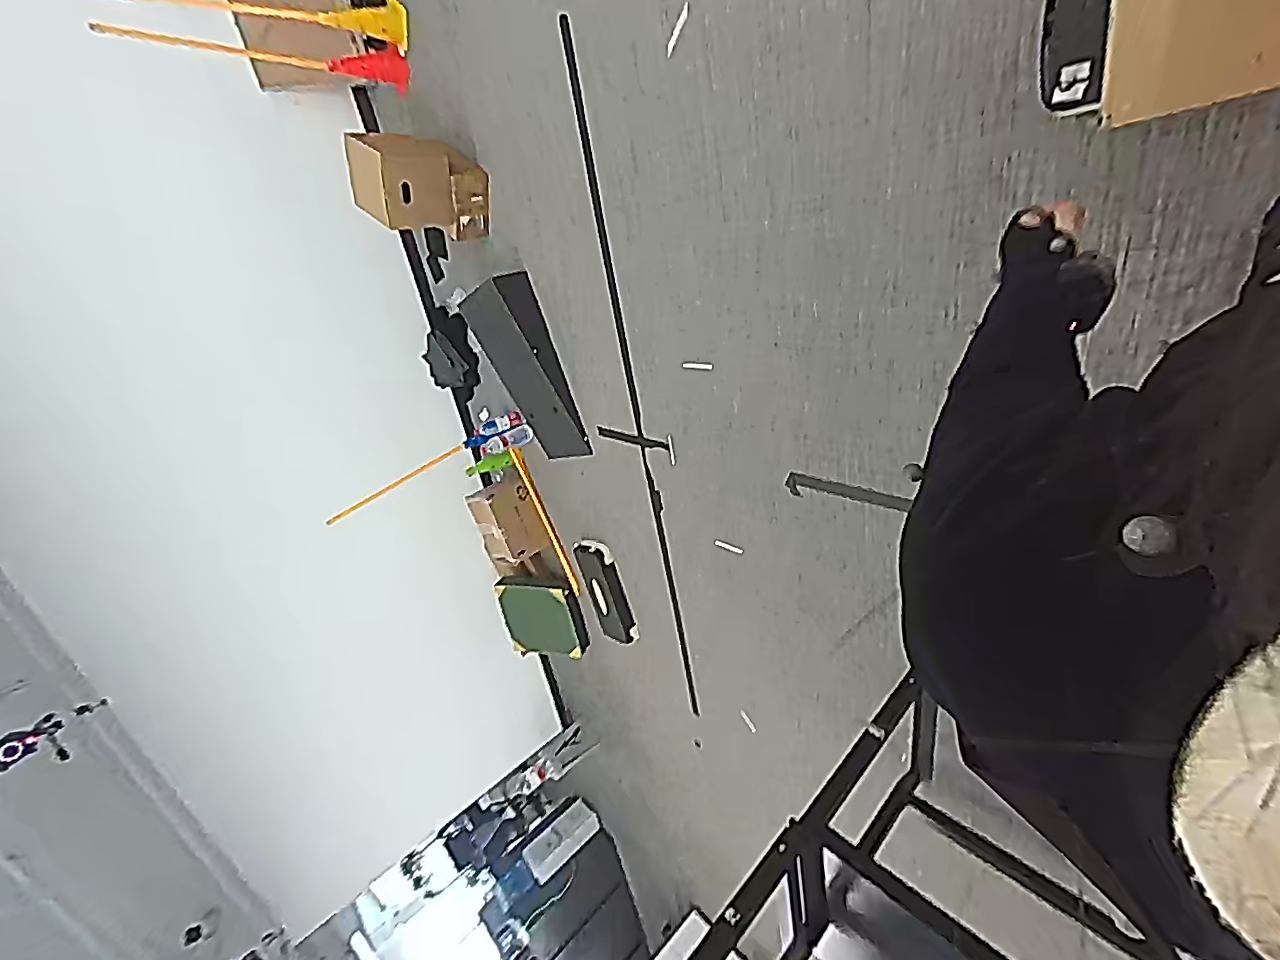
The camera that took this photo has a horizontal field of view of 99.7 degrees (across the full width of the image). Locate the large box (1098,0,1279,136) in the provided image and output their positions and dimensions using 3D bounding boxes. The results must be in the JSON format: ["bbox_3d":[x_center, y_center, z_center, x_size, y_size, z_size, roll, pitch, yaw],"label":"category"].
[{"bbox_3d":[0.797,-0.609,0.573,0.408,0.320,0.320,15,124,49],"label":"large box"}]
